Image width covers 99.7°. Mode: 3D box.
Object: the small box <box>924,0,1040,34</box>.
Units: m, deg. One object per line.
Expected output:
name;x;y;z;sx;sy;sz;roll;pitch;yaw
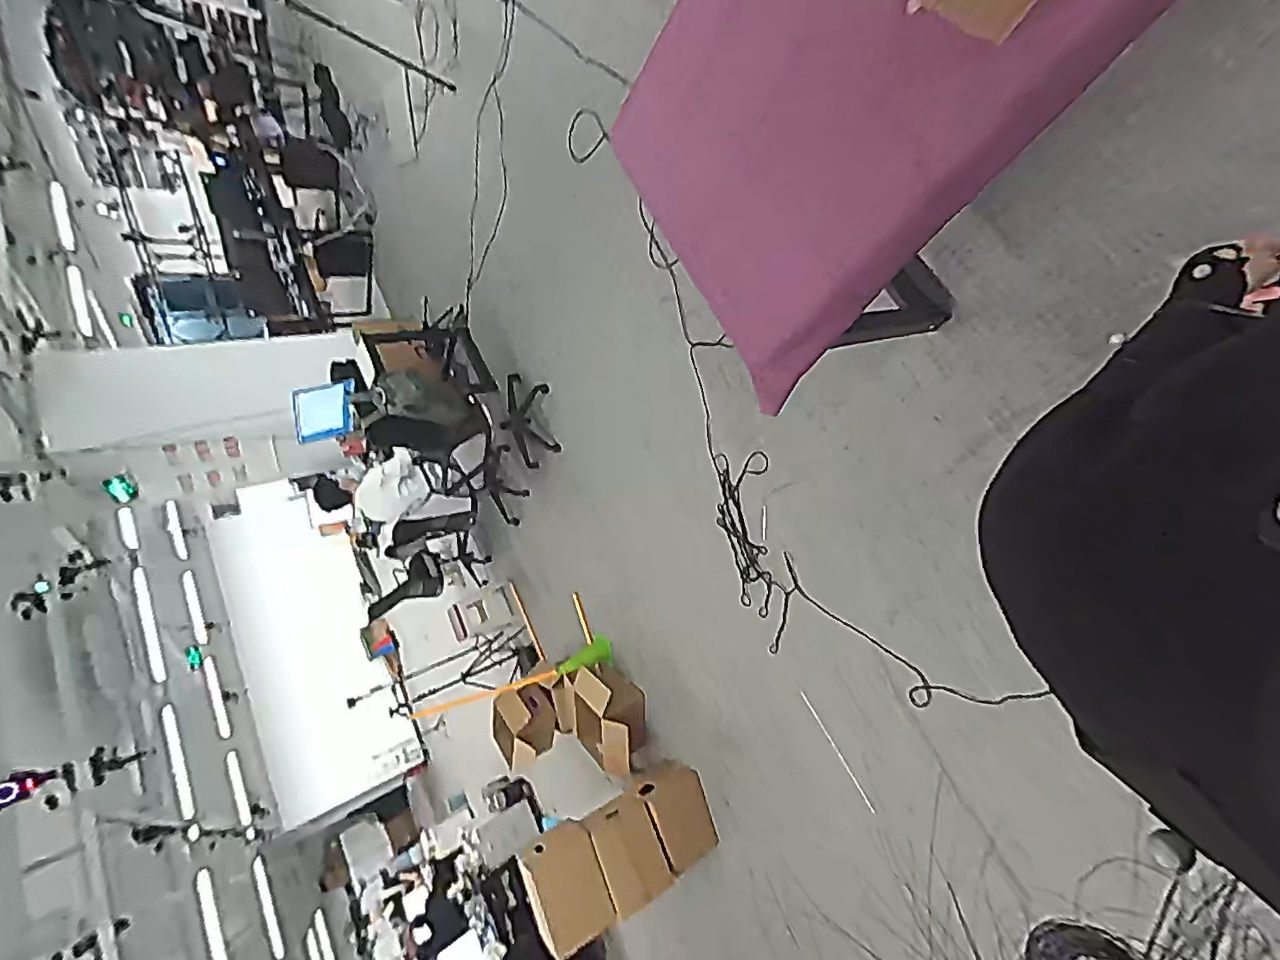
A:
small box;0.365;-0.605;0.557;0.179;0.176;0.168;62;145;18
